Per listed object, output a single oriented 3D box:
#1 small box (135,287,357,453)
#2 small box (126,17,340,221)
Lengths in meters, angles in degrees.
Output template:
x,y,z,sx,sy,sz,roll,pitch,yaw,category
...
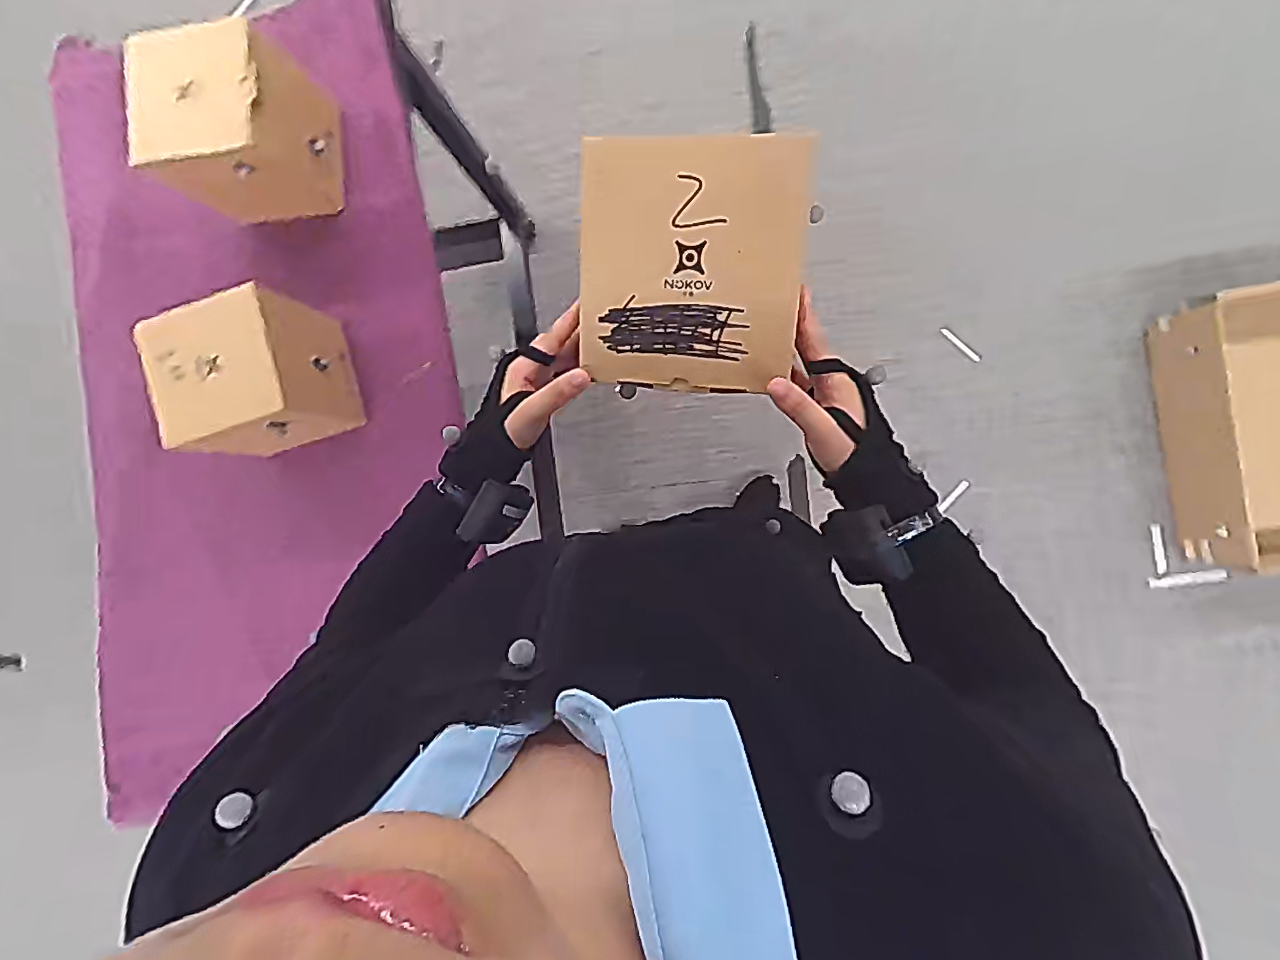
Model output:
x,y,z,sx,sy,sz,roll,pitch,yaw,category
-0.526,-0.139,0.751,0.179,0.176,0.168,-16,88,7,small box
-0.555,-0.483,0.755,0.179,0.176,0.168,-3,90,8,small box
